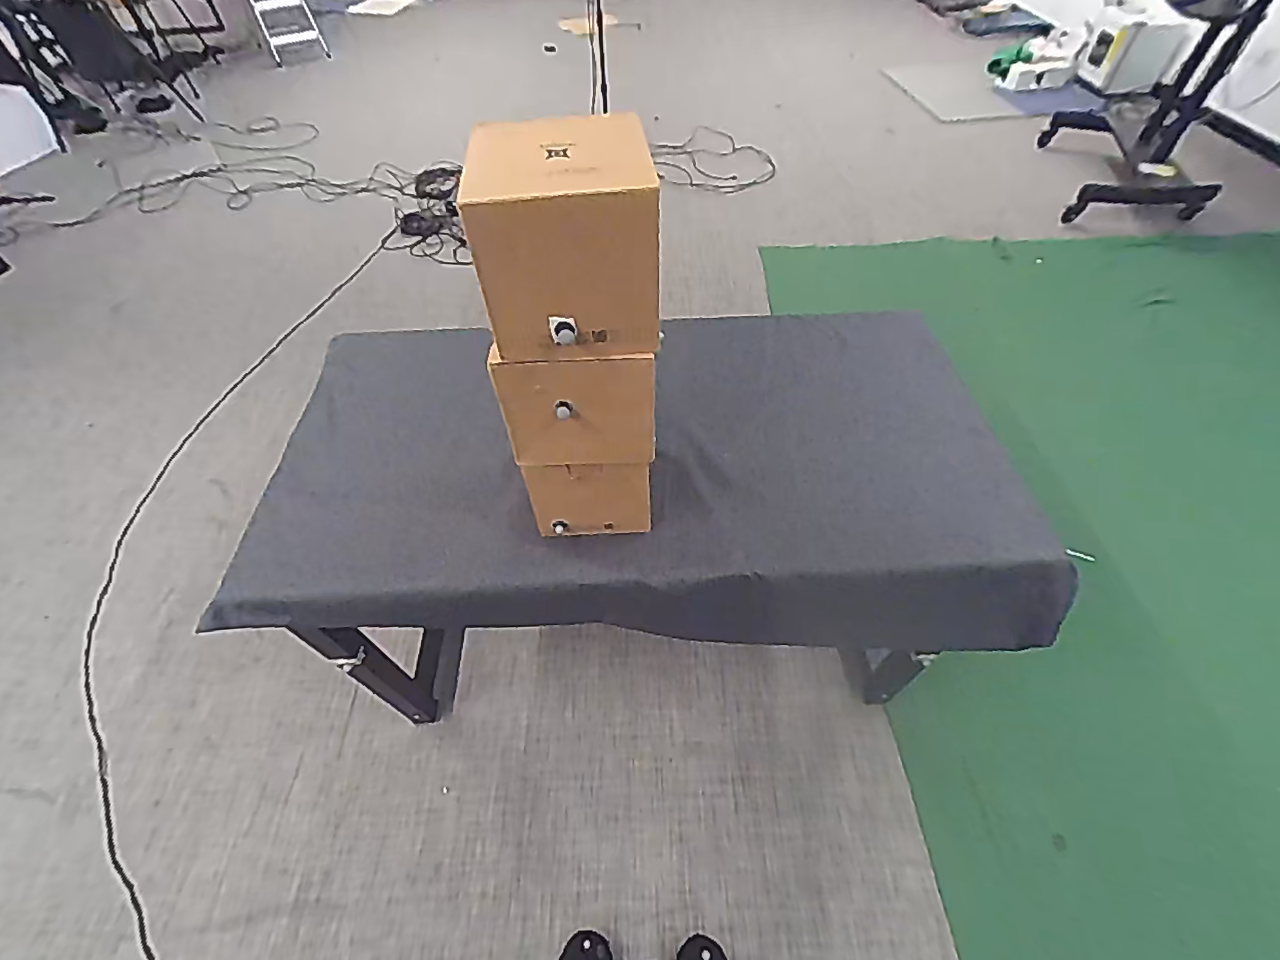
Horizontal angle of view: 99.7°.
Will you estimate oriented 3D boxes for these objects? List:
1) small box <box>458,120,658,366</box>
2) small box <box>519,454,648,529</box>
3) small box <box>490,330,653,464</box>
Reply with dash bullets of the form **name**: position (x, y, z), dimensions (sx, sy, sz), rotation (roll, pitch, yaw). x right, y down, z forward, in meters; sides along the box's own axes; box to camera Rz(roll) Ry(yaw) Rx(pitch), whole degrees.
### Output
- **small box**: position (-0.075, -0.241, 0.556), dimensions (0.168, 0.176, 0.179), rotation (-7, 52, -3)
- **small box**: position (-0.075, -0.037, 0.810), dimensions (0.168, 0.176, 0.179), rotation (-2, 50, 0)
- **small box**: position (-0.076, -0.134, 0.682), dimensions (0.179, 0.176, 0.168), rotation (-3, 49, -2)
